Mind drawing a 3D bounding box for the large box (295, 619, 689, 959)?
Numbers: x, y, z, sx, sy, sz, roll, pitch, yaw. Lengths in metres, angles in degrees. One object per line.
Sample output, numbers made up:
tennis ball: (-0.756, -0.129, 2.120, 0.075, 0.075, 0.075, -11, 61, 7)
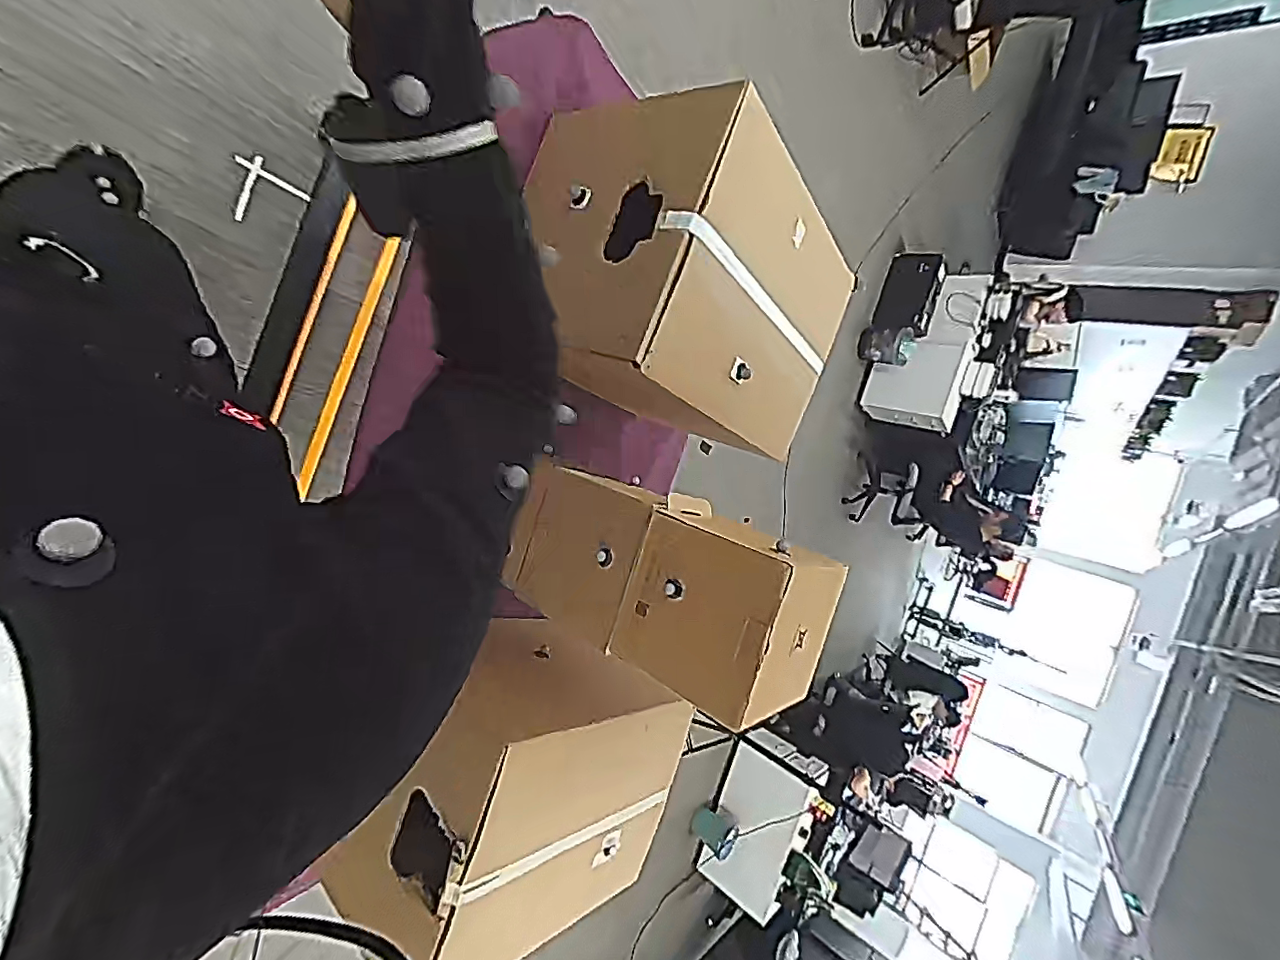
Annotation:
large box: (-0.190, 0.407, 0.782, 0.408, 0.320, 0.320, 20, 90, -54)

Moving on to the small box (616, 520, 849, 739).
small box: (0.105, 0.150, 0.606, 0.179, 0.176, 0.168, 12, 96, -52)
